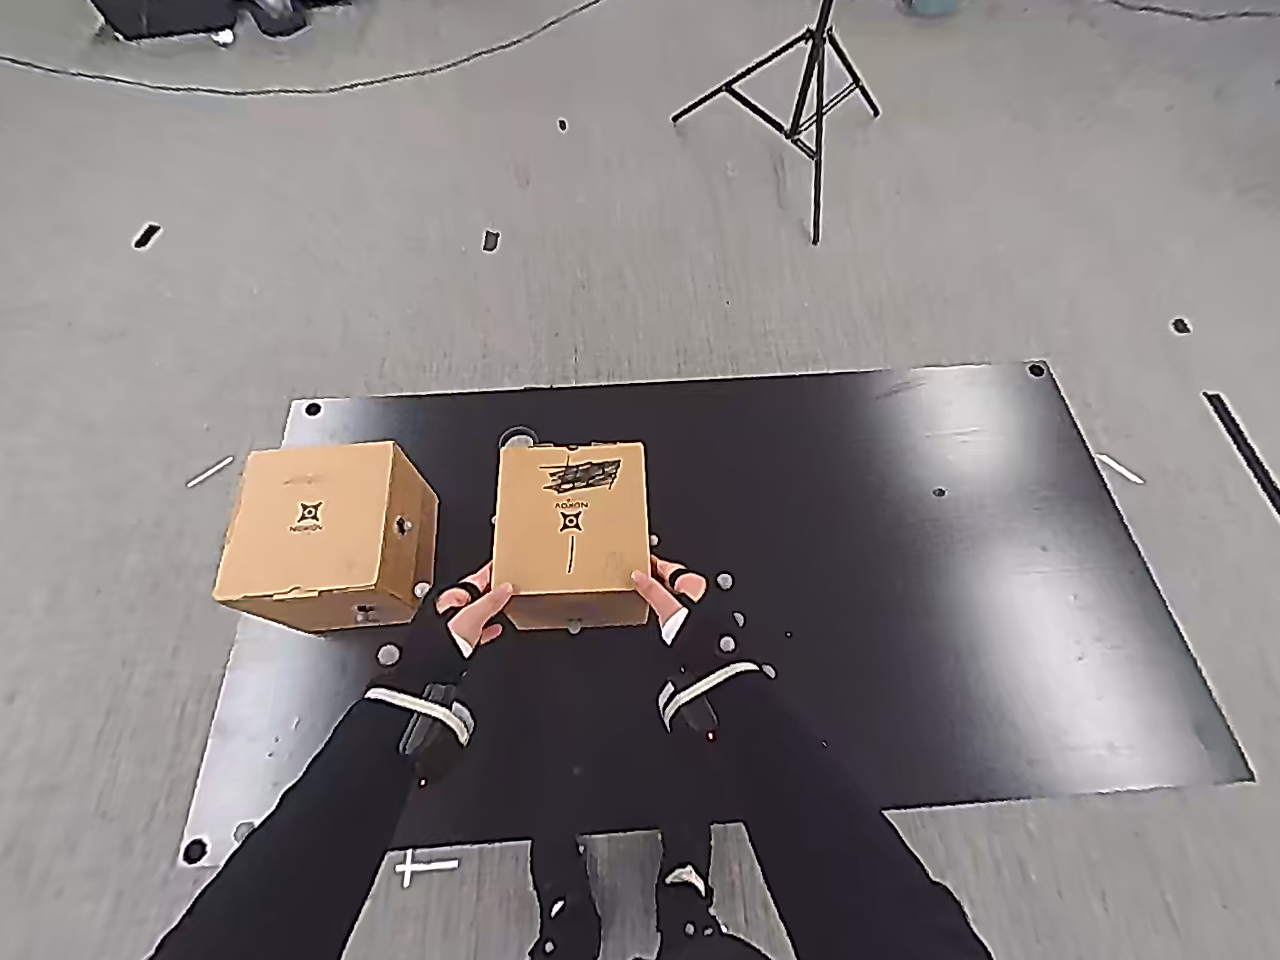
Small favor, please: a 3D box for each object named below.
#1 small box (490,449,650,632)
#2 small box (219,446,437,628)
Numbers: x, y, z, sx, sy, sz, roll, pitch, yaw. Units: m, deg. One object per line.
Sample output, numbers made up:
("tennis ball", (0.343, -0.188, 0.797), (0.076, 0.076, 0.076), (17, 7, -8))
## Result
("small box", (-0.078, 0.078, 0.660), (0.168, 0.176, 0.179), (-1, 63, -3))
("small box", (-0.360, 0.078, 0.665), (0.168, 0.176, 0.179), (-5, 63, -4))
